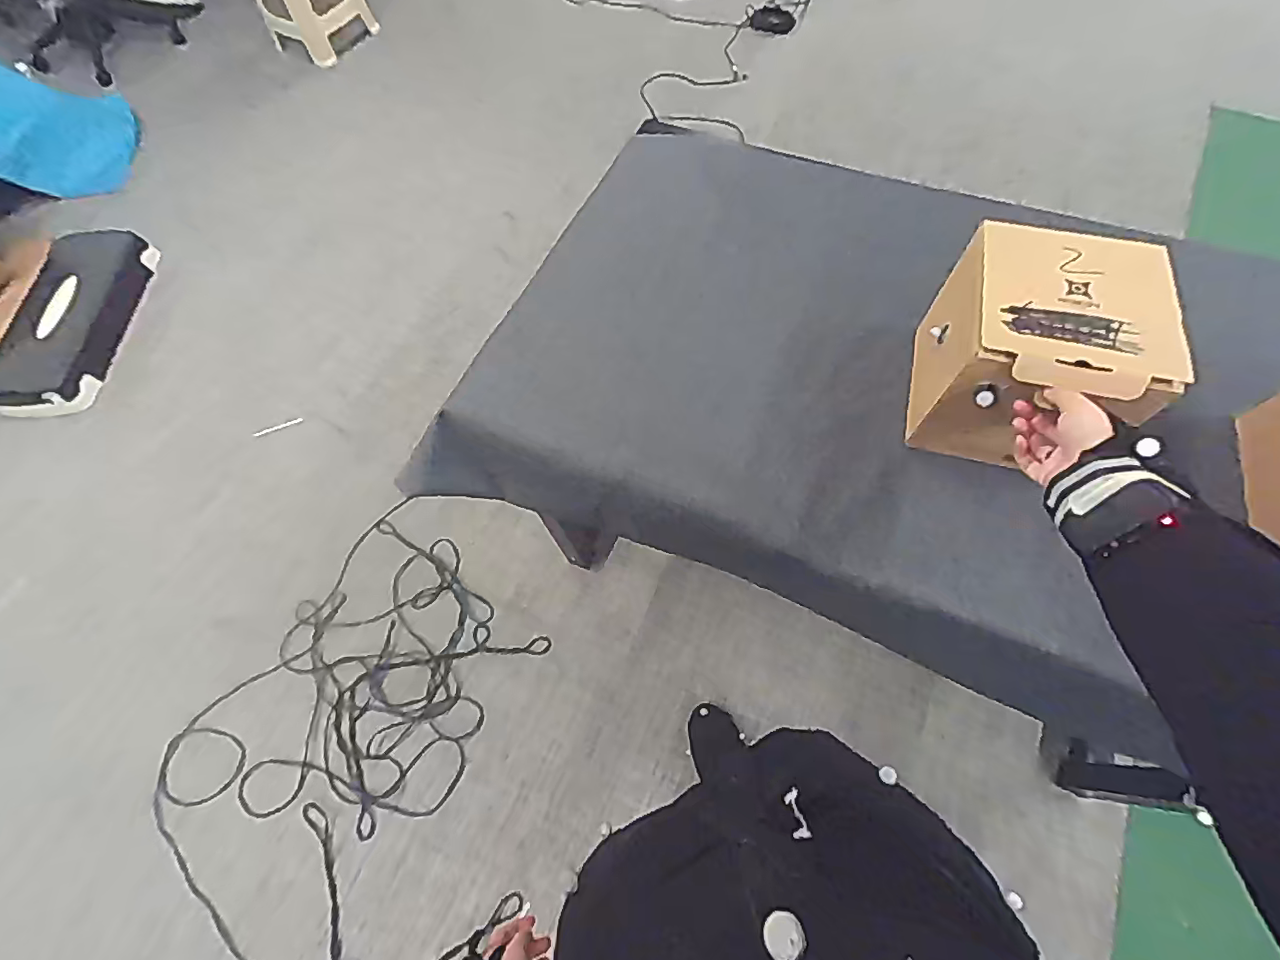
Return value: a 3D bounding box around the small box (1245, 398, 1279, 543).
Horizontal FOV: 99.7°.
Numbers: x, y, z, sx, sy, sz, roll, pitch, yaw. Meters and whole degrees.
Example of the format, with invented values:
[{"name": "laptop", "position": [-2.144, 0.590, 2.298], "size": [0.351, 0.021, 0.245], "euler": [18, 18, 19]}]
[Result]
[{"name": "small box", "position": [0.719, -0.011, 0.484], "size": [0.168, 0.176, 0.179], "euler": [15, 66, 10]}]
